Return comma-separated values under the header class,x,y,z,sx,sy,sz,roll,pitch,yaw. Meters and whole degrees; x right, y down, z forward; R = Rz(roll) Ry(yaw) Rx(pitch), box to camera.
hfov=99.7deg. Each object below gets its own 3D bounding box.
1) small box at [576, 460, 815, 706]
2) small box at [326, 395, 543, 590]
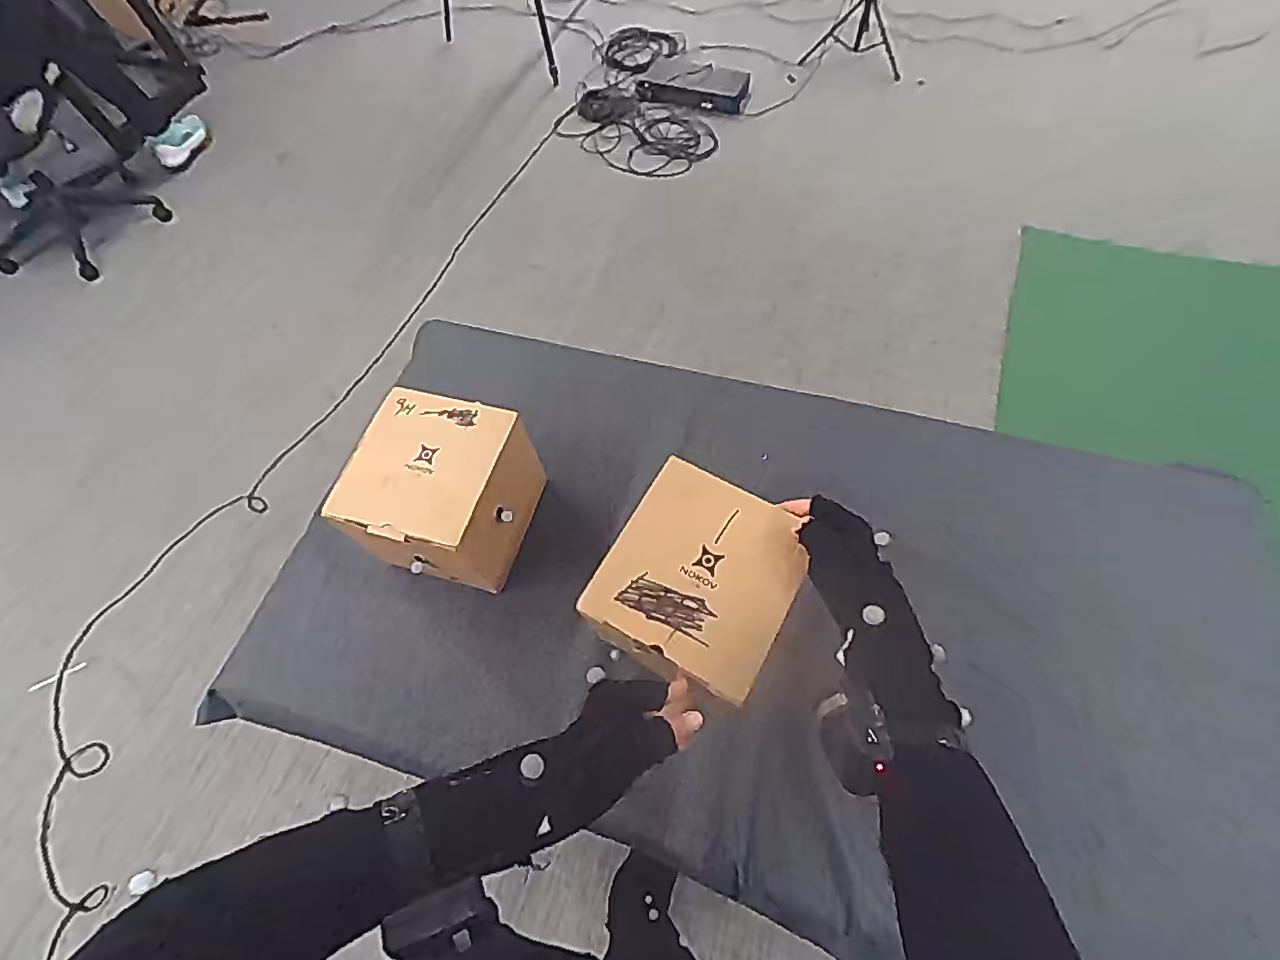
class,x,y,z,sx,sy,sz,roll,pitch,yaw
small box,0.060,0.116,0.565,0.168,0.176,0.179,25,69,16
small box,-0.238,0.023,0.680,0.168,0.176,0.179,12,65,11
